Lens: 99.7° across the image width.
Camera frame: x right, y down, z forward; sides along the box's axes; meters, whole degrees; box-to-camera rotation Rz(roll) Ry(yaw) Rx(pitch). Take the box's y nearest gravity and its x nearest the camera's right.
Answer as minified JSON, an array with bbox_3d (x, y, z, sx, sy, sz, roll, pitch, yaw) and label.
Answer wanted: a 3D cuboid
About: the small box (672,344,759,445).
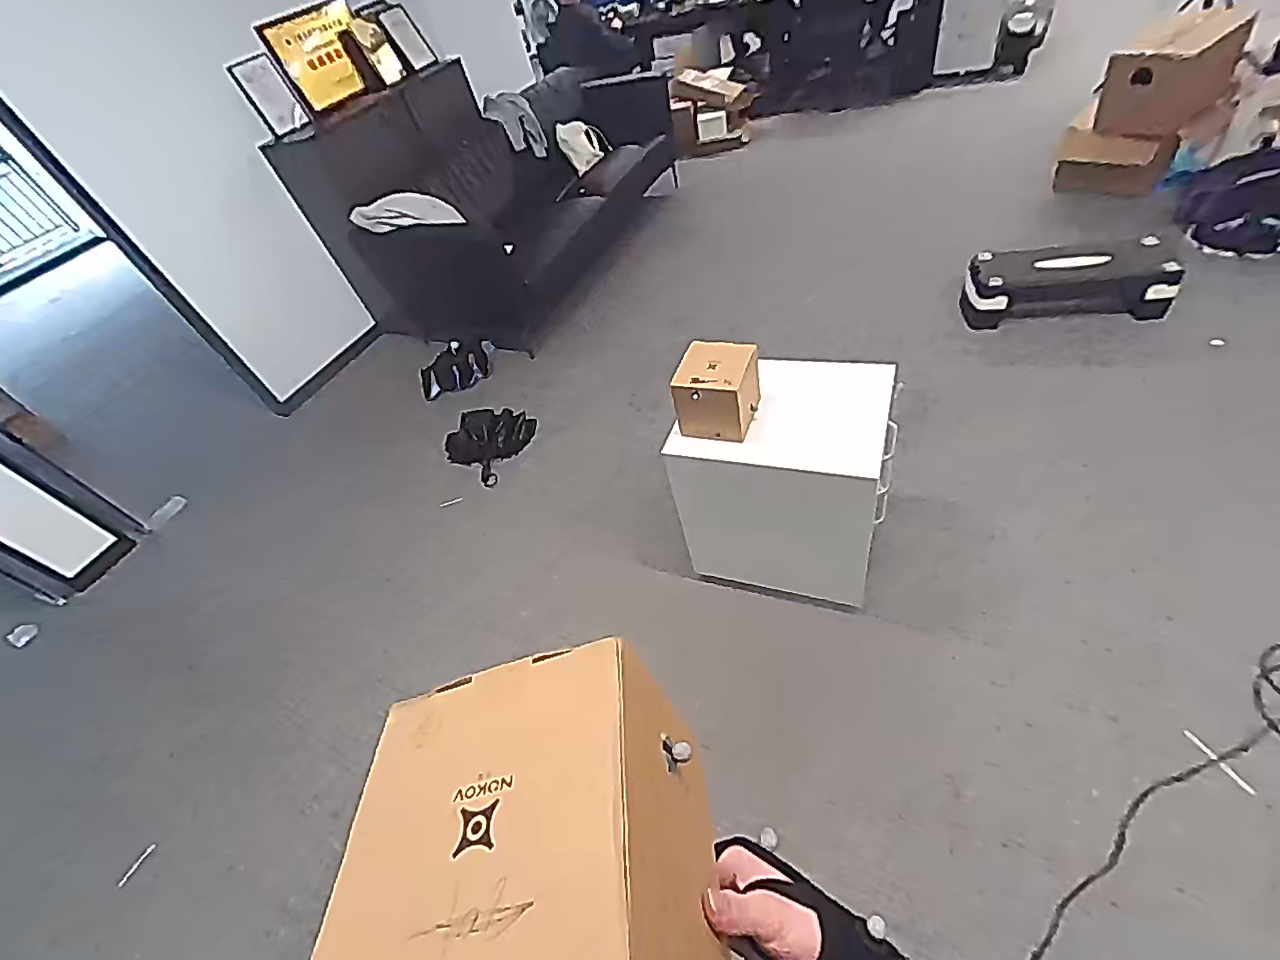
[{"bbox_3d":[0.194,-0.212,1.337,0.168,0.176,0.179,10,51,24],"label":"small box"}]

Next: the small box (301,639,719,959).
[{"bbox_3d":[-0.058,0.232,0.328,0.168,0.176,0.179,-19,38,11],"label":"small box"}]
